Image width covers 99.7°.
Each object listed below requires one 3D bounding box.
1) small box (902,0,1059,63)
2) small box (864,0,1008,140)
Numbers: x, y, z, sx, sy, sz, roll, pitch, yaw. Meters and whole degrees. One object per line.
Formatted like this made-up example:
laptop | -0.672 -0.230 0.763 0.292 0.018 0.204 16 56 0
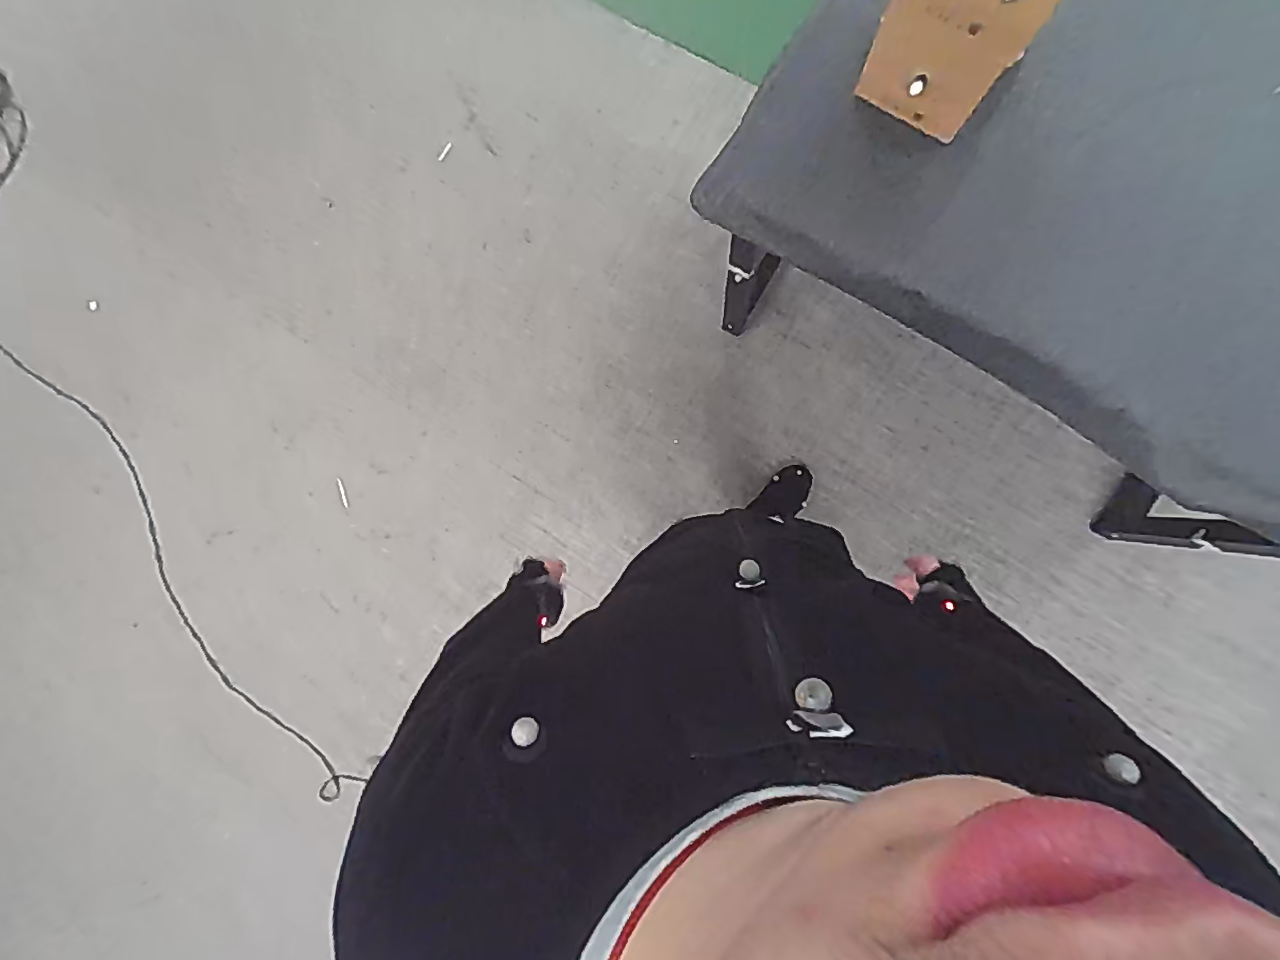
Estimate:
small box | 0.408 -0.607 0.574 0.168 0.176 0.179 31 91 5
small box | 0.432 -0.616 0.736 0.168 0.176 0.179 33 93 5
